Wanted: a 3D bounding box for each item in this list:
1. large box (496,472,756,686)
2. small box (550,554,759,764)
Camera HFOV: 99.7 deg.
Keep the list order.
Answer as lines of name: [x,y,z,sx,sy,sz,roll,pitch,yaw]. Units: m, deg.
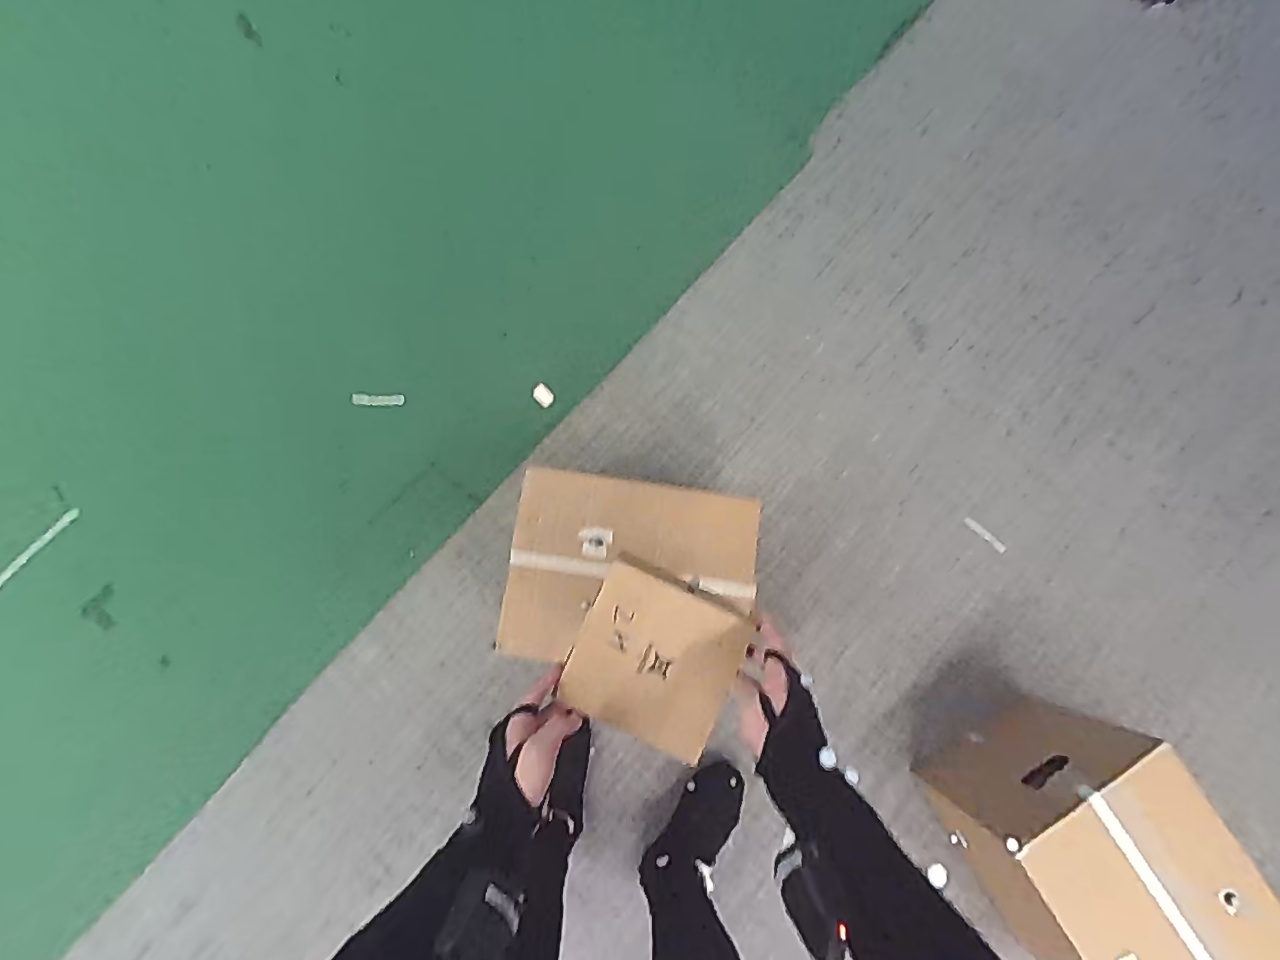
large box: [-0.016,0.183,1.038,0.408,0.320,0.320,8,80,1]
small box: [0.017,0.197,0.656,0.179,0.176,0.168,26,86,2]
